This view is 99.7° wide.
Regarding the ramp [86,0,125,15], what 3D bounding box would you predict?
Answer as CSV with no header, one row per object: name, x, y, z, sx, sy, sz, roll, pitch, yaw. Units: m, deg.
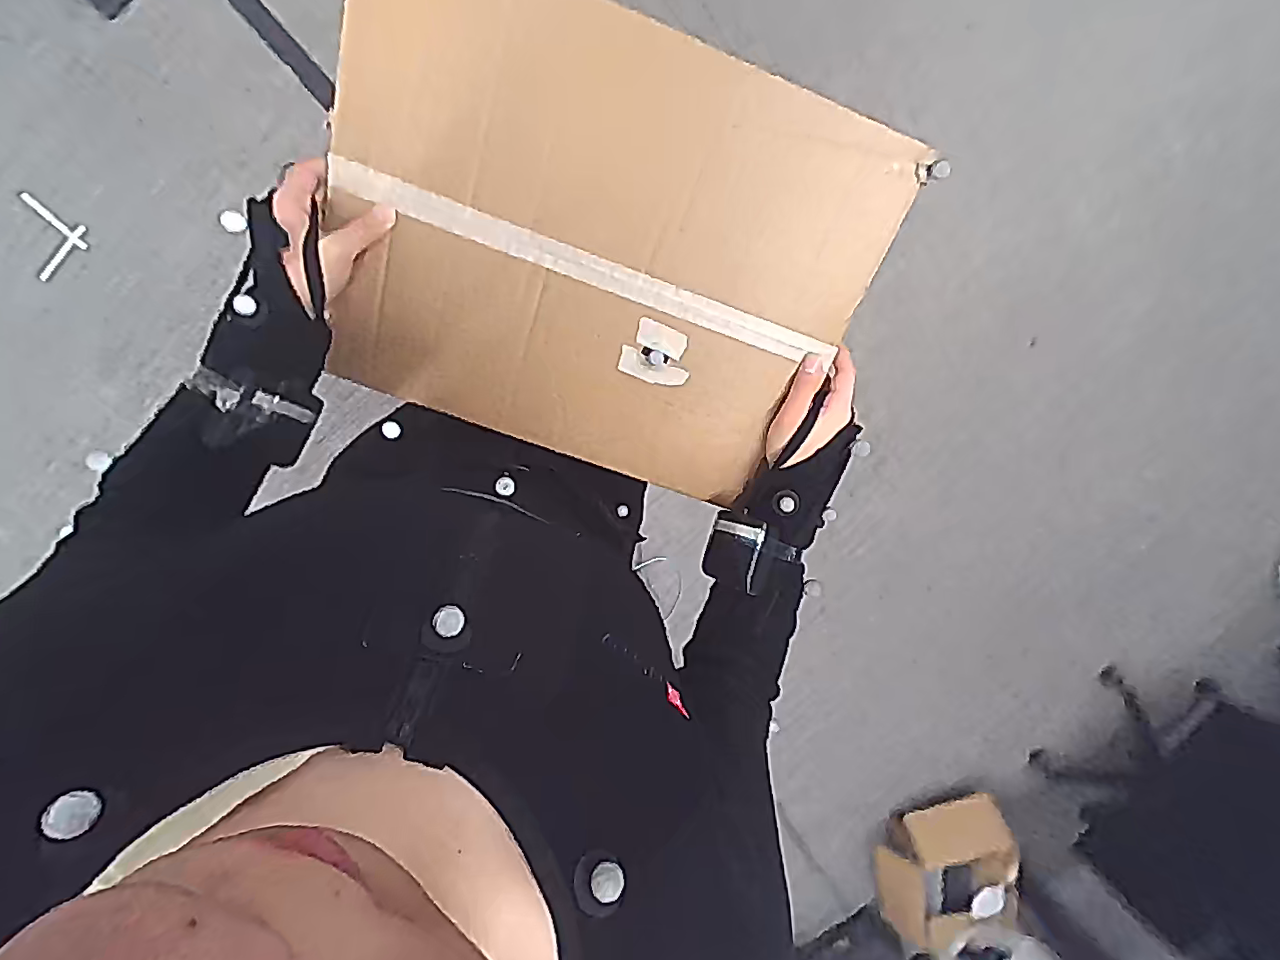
ramp,-1.147,-1.349,0.772,0.509,0.206,0.991,-43,108,7

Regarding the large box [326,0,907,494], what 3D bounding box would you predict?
large box,-0.040,-0.232,0.562,0.408,0.320,0.320,16,116,-8
